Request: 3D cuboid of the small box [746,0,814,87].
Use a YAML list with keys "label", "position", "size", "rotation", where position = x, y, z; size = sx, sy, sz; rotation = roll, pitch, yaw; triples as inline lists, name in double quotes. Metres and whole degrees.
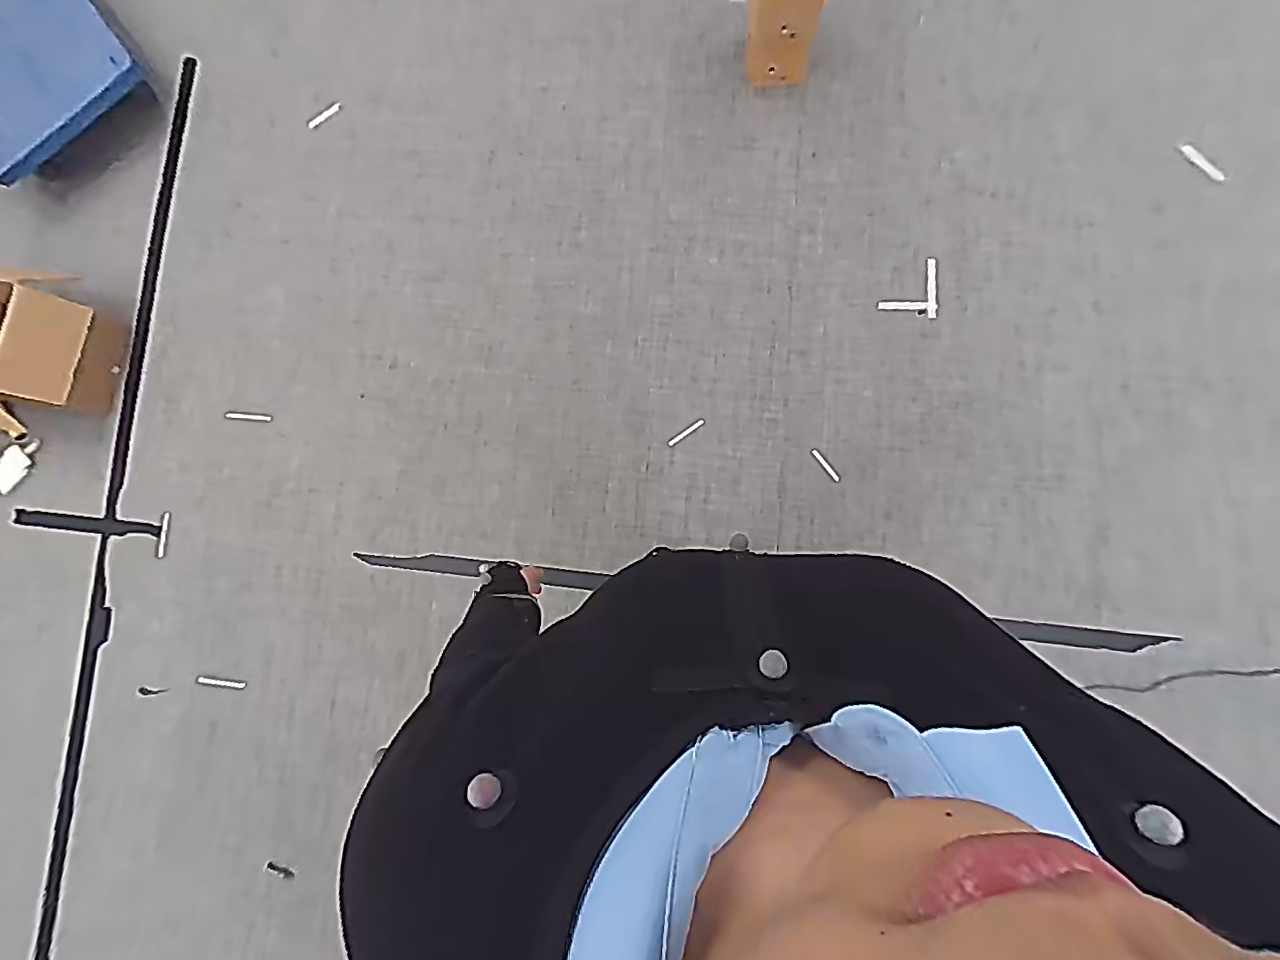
- label: "small box"
  position: [0.395, -1.278, 1.552]
  size: [0.168, 0.176, 0.179]
  rotation: [-1, 84, 6]
